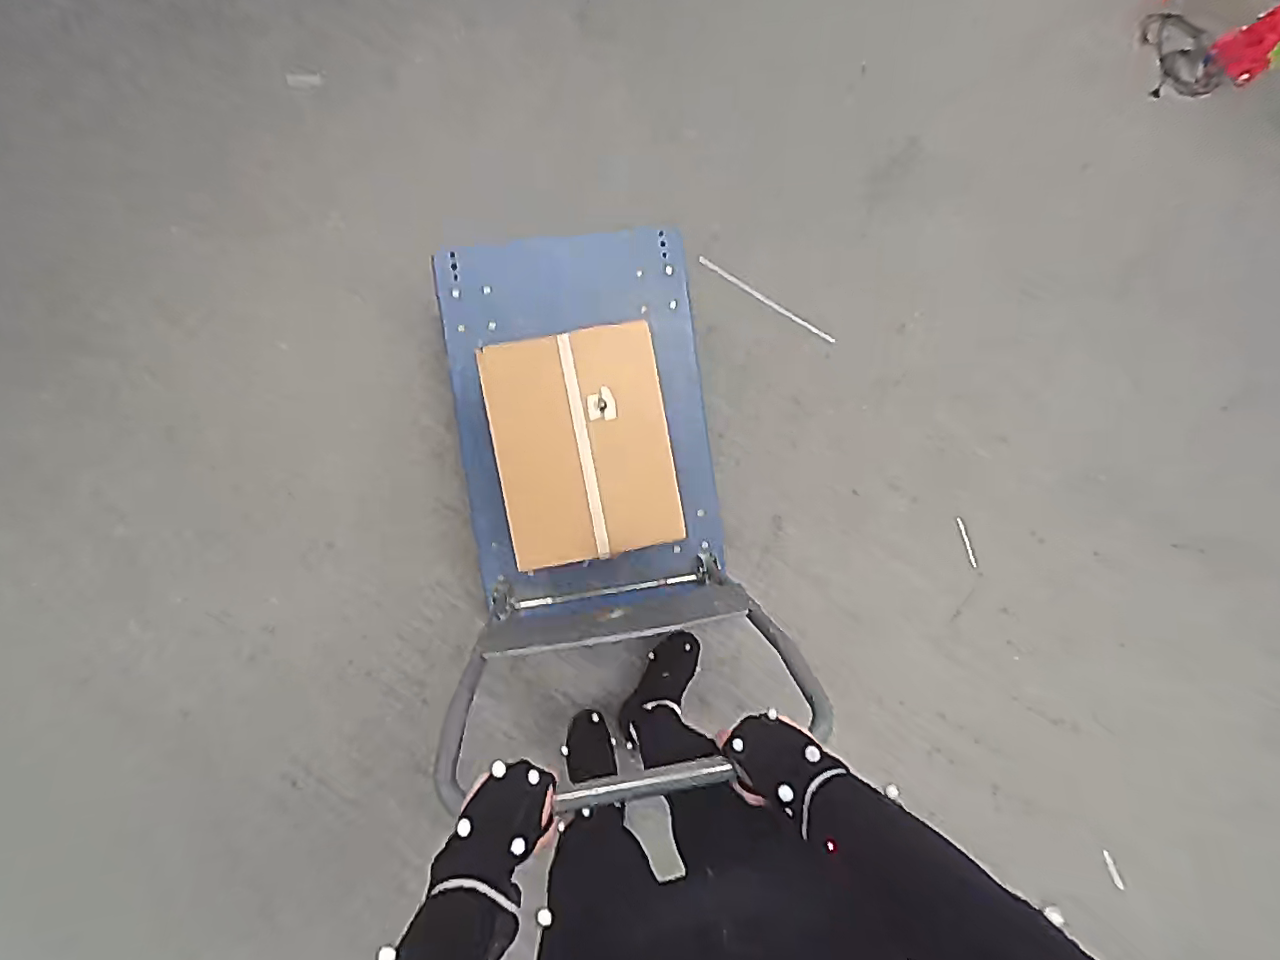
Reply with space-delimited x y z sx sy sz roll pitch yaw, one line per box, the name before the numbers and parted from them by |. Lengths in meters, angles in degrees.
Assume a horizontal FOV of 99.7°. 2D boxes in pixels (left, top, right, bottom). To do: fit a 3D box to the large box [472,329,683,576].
large box | -0.119 -0.056 1.122 0.320 0.320 0.408 -12 94 -5
